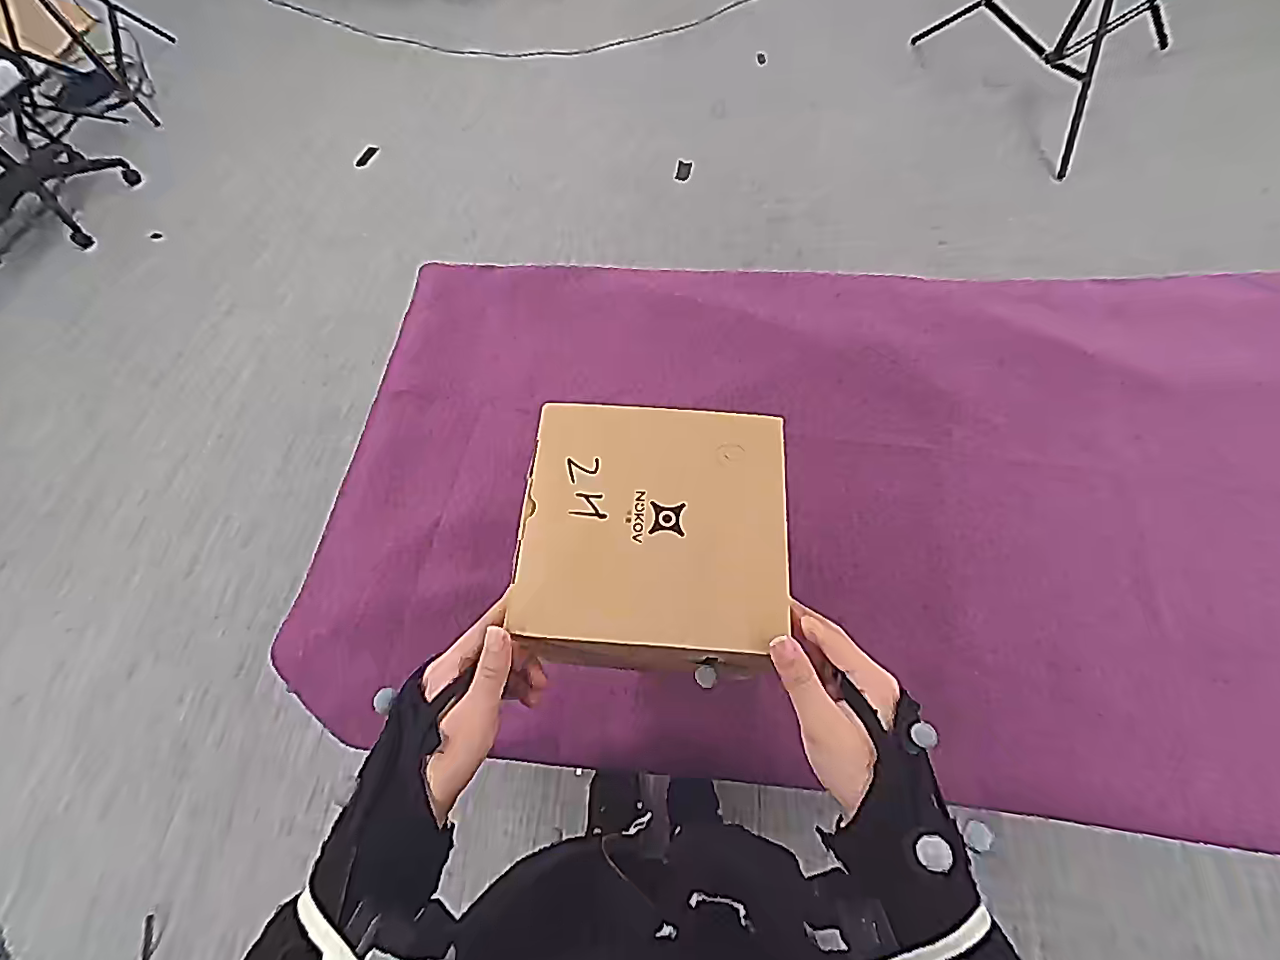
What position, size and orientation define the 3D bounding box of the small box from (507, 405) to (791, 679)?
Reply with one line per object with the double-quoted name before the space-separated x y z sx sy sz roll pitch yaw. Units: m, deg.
"small box" 0.012 0.060 0.433 0.179 0.176 0.168 4 64 2
